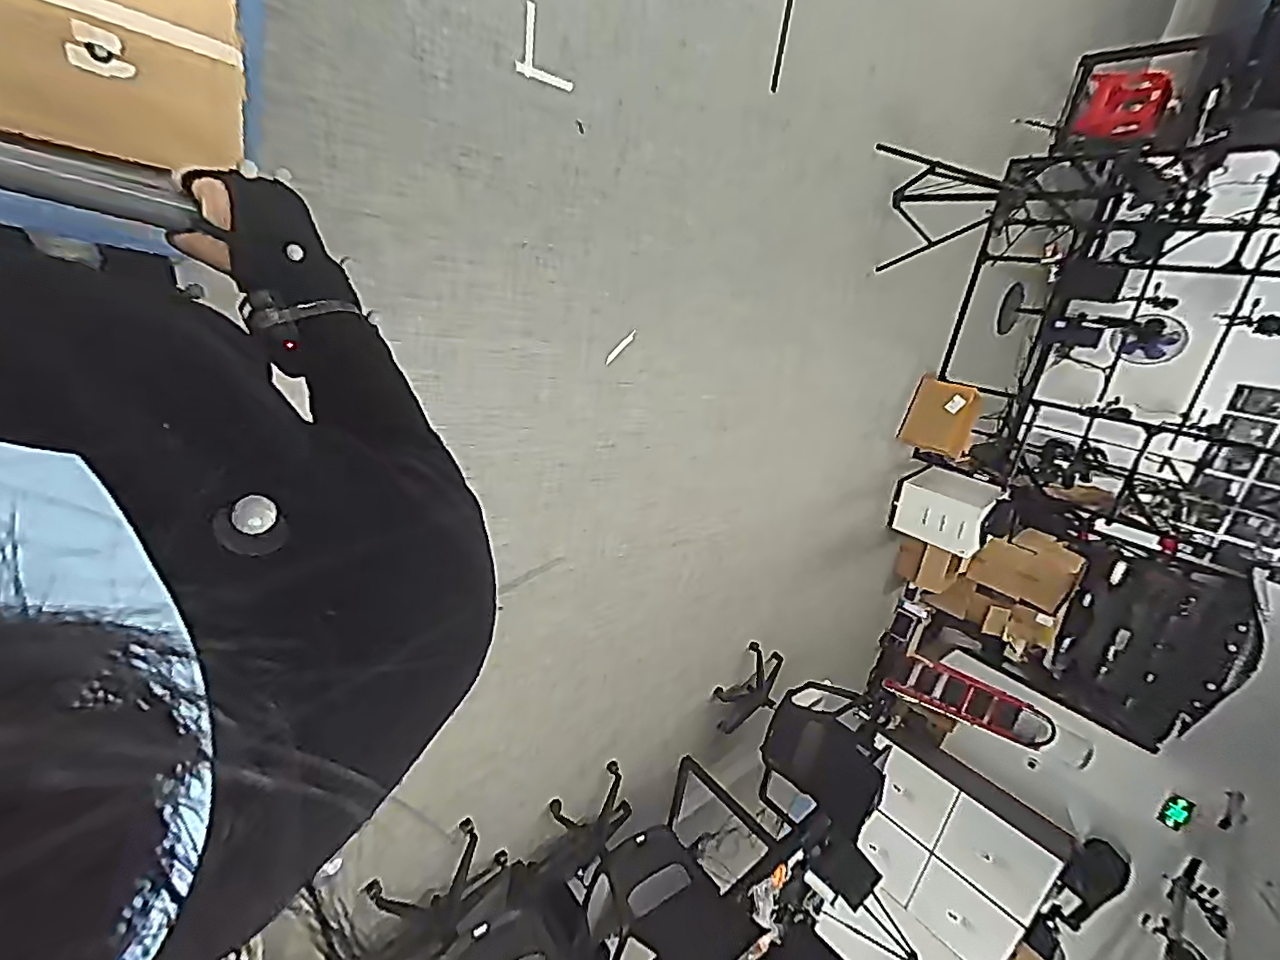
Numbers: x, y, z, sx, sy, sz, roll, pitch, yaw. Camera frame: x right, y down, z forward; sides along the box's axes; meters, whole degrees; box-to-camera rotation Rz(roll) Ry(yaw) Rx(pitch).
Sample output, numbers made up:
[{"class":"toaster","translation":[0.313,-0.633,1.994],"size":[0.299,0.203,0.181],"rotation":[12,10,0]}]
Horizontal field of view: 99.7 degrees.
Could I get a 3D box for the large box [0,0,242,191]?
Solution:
[{"class":"large box","translation":[-0.787,-0.590,0.687],"size":[0.408,0.320,0.320],"rotation":[-7,115,-44]}]
